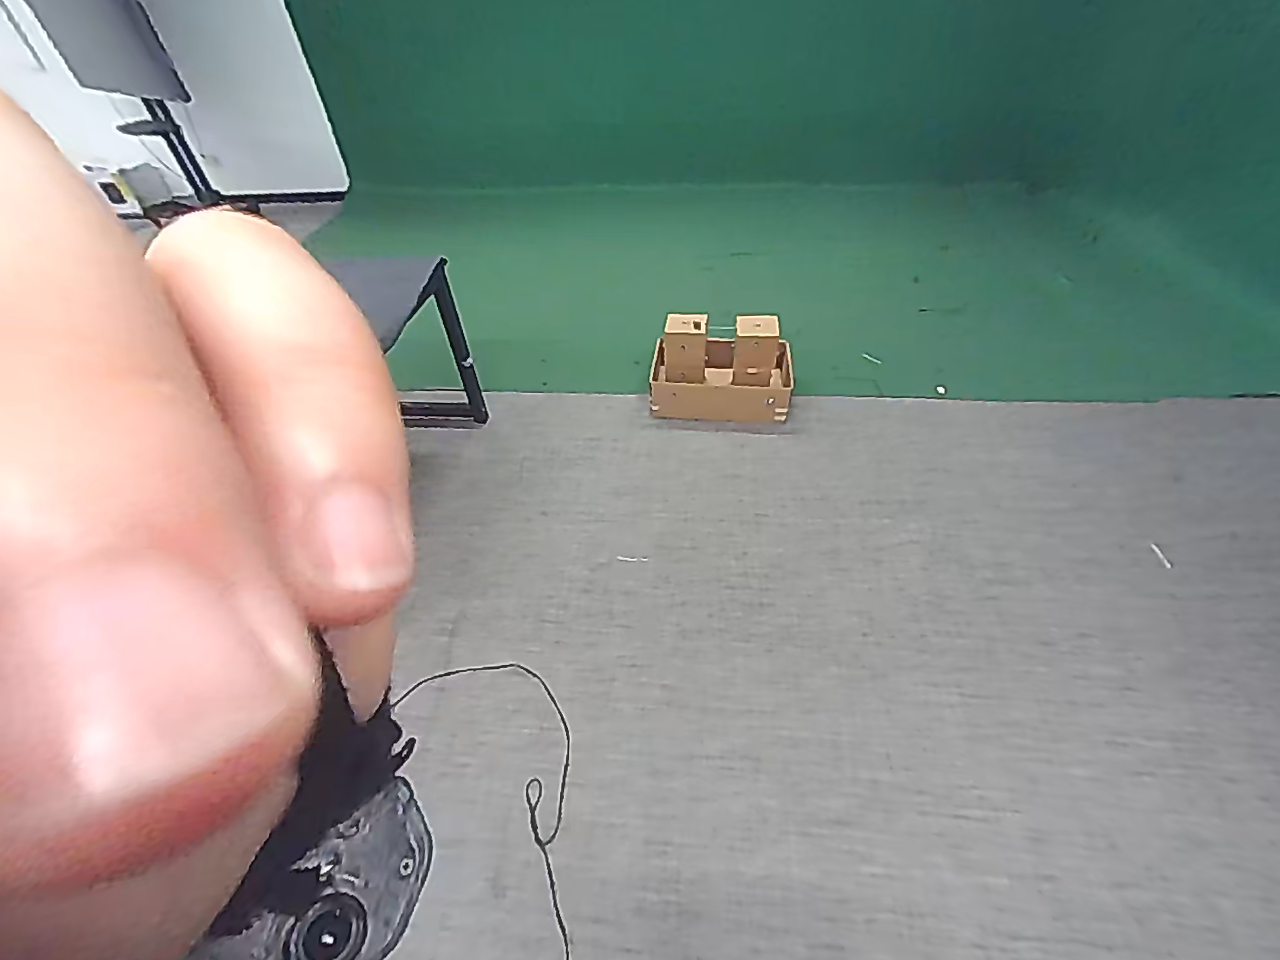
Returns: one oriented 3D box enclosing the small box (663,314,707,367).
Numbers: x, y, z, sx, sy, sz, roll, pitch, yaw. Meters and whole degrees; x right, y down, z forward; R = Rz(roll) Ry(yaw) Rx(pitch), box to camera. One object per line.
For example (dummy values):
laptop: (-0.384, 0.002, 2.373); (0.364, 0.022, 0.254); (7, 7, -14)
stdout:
small box: (0.196, -0.607, 2.357); (0.179, 0.176, 0.168); (4, 44, 7)

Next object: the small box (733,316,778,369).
small box: (0.492, -0.590, 2.327); (0.179, 0.176, 0.168); (3, 46, 6)

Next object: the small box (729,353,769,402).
small box: (0.493, -0.468, 2.436); (0.168, 0.176, 0.179); (4, 46, 9)
